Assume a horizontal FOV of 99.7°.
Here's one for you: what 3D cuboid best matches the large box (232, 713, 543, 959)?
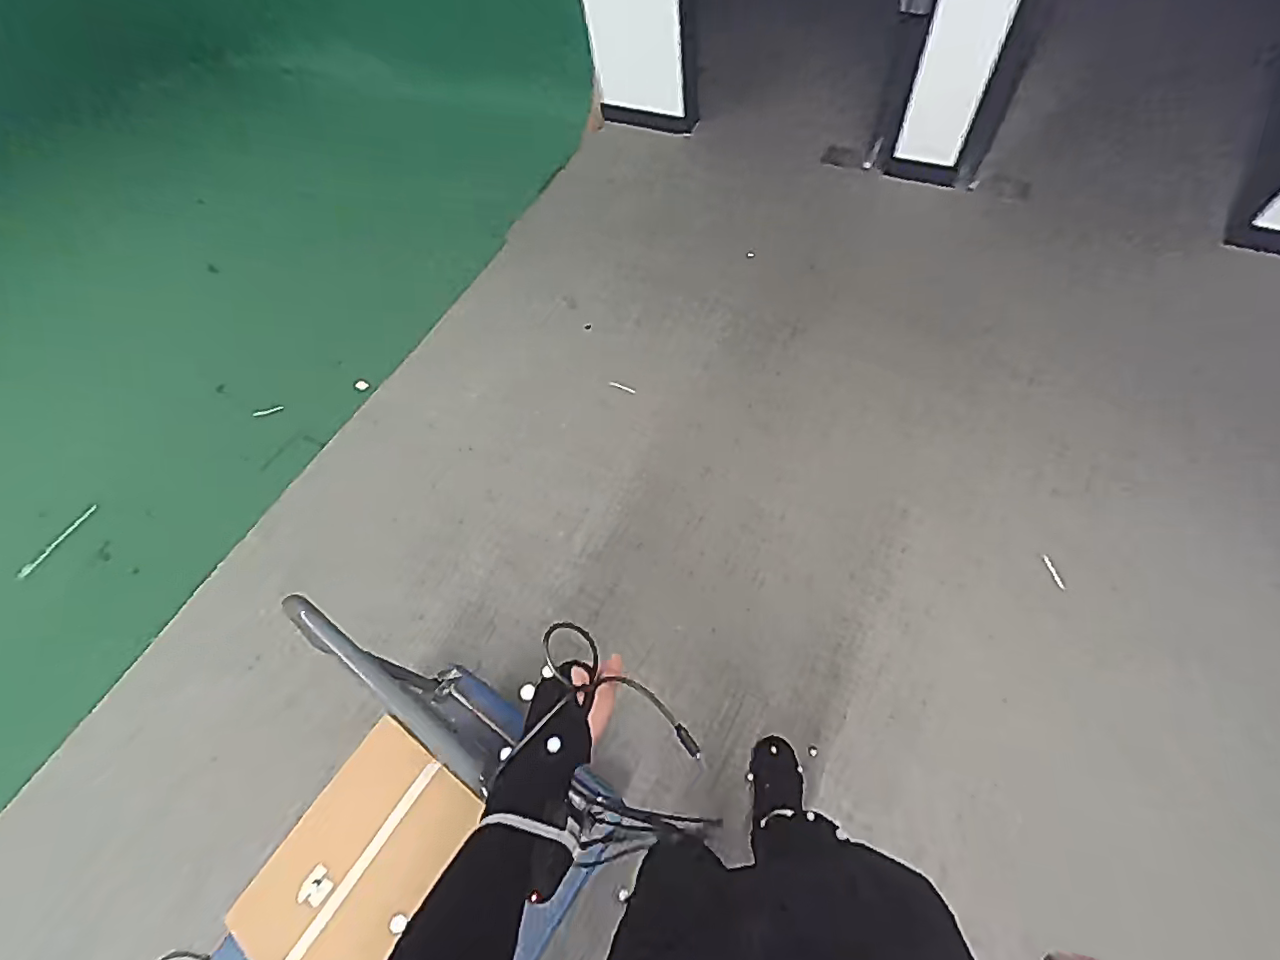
[{"bbox_3d":[-0.460,0.738,1.080,0.320,0.320,0.408,29,71,21],"label":"large box"}]
